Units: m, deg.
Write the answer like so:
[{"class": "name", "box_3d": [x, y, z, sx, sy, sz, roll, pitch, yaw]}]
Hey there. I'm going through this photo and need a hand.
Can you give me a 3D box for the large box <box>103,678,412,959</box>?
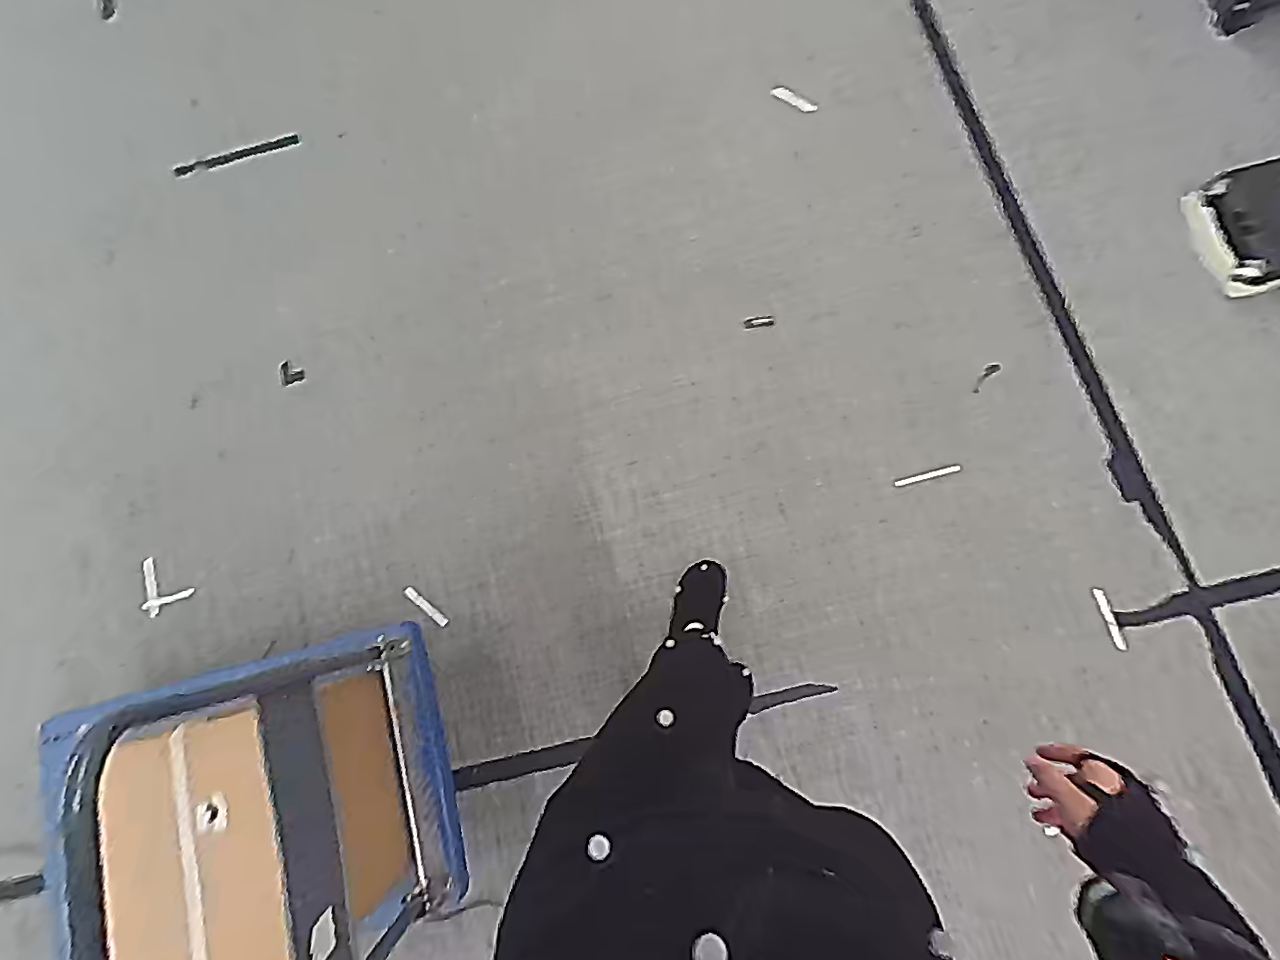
[{"class": "large box", "box_3d": [-0.666, 0.625, 0.986, 0.320, 0.320, 0.408, -16, 79, 1]}]
